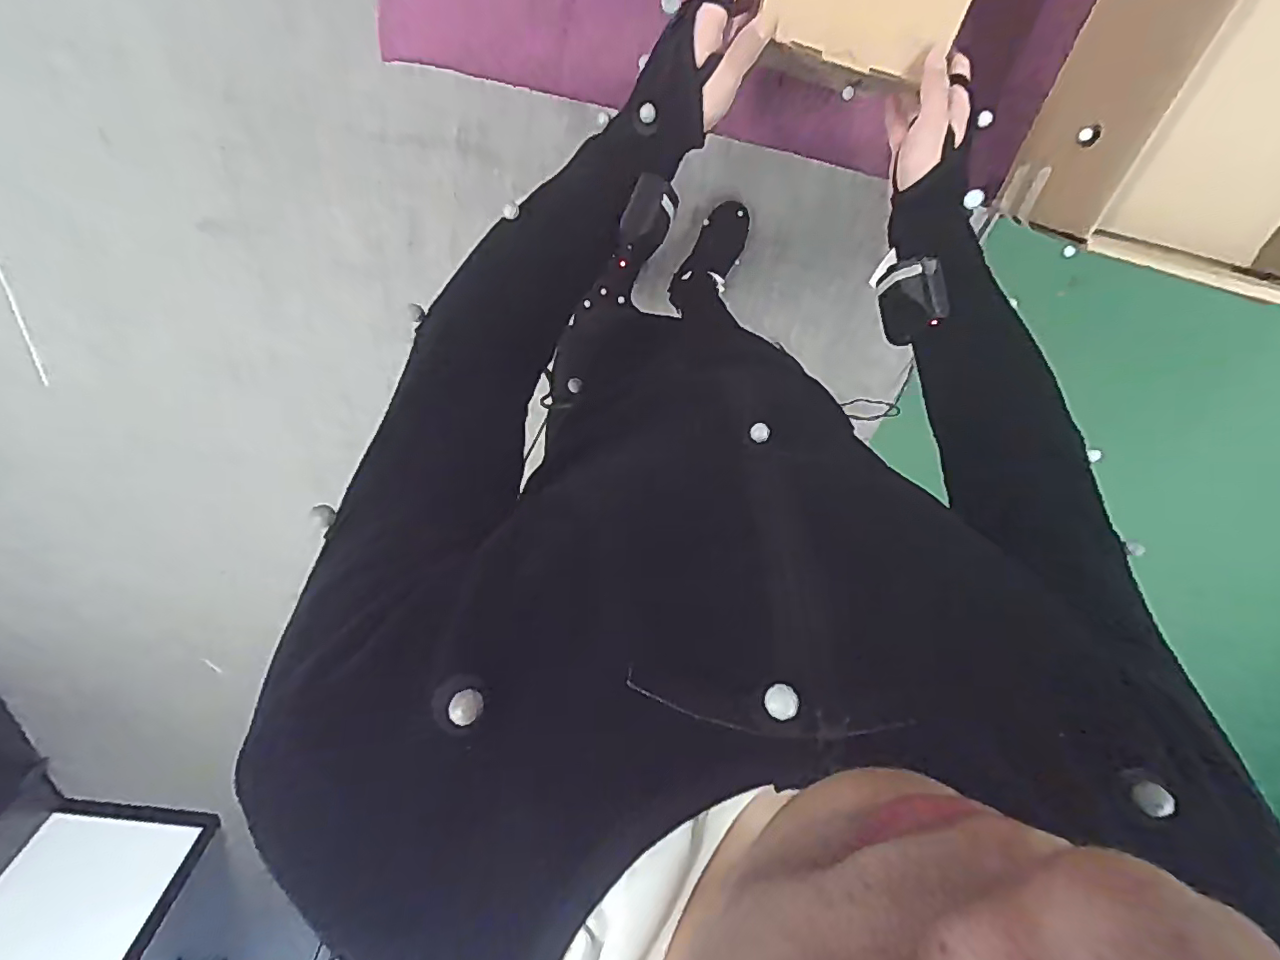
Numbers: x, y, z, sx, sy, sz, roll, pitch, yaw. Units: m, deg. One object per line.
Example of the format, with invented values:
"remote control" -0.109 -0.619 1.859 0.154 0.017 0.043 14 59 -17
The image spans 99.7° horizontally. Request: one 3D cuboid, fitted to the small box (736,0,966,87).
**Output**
"small box" 0.192 -0.472 0.476 0.168 0.176 0.179 12 122 -8
